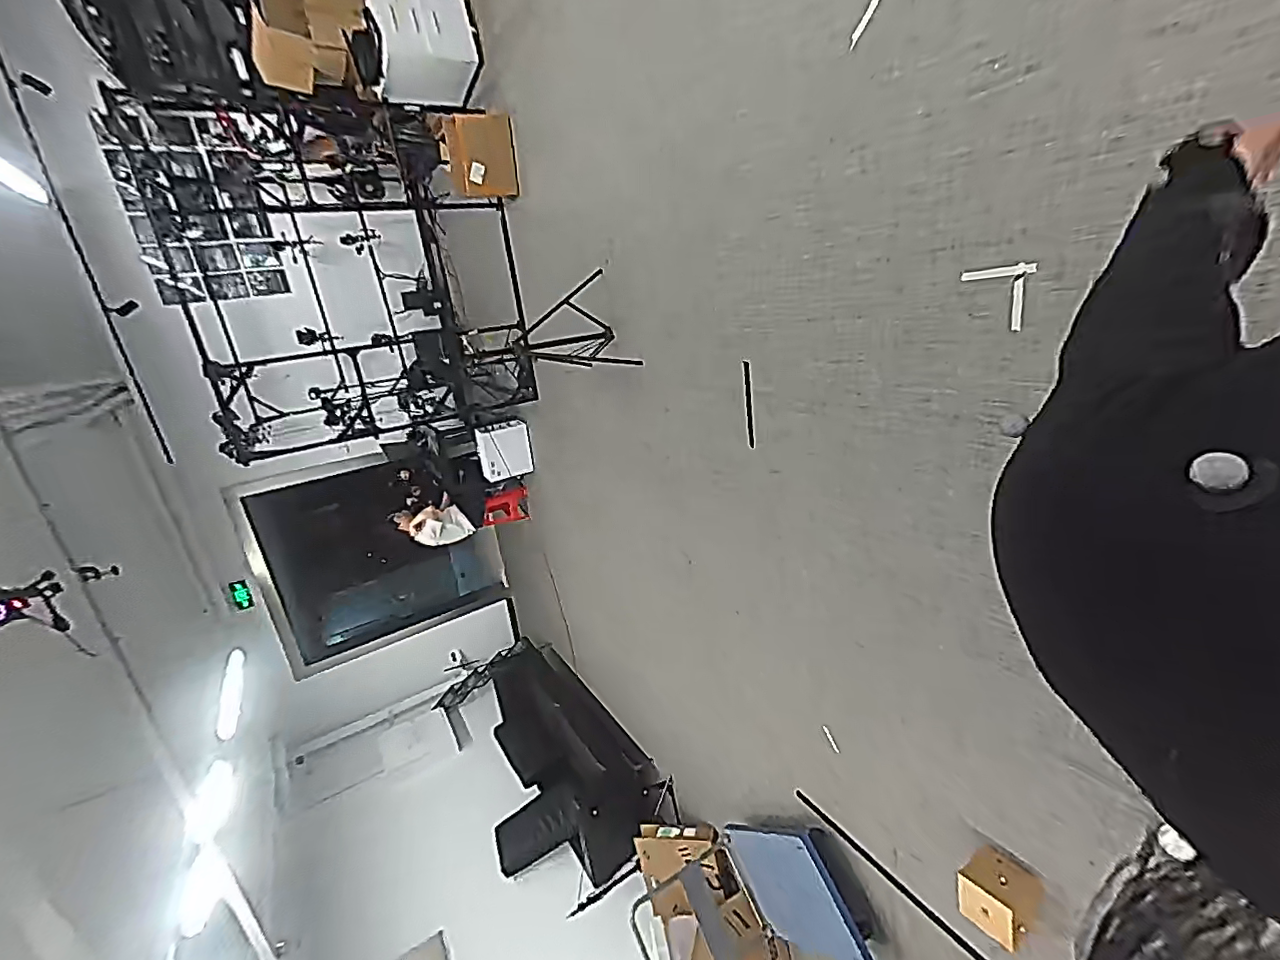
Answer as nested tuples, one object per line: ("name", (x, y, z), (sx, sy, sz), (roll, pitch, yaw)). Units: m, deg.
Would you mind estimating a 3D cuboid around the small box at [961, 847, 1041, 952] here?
("small box", (1.180, 1.359, 1.768), (0.168, 0.176, 0.179), (12, 116, 59))
